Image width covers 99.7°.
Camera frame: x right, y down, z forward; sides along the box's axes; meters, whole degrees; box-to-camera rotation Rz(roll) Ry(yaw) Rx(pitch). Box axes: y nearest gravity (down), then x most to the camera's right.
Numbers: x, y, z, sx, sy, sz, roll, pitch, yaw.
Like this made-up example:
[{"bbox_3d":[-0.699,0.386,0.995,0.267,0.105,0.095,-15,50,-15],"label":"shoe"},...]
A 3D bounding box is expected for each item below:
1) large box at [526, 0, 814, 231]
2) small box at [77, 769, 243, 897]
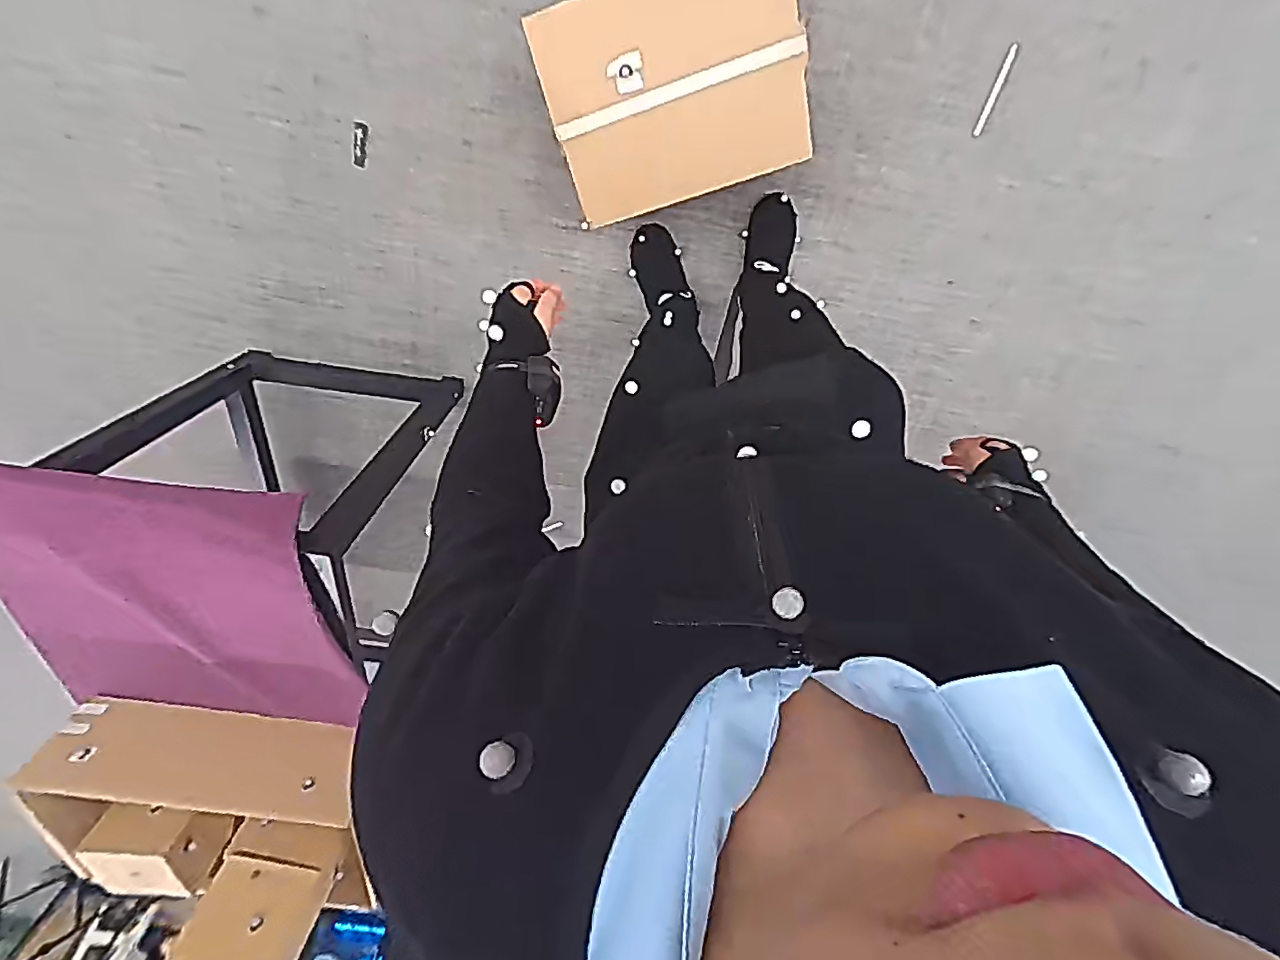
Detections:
[{"bbox_3d":[0.065,-0.701,0.983,0.408,0.320,0.320,-13,121,12],"label":"large box"},{"bbox_3d":[-0.974,0.725,1.118,0.168,0.176,0.179,6,123,-2],"label":"small box"}]
